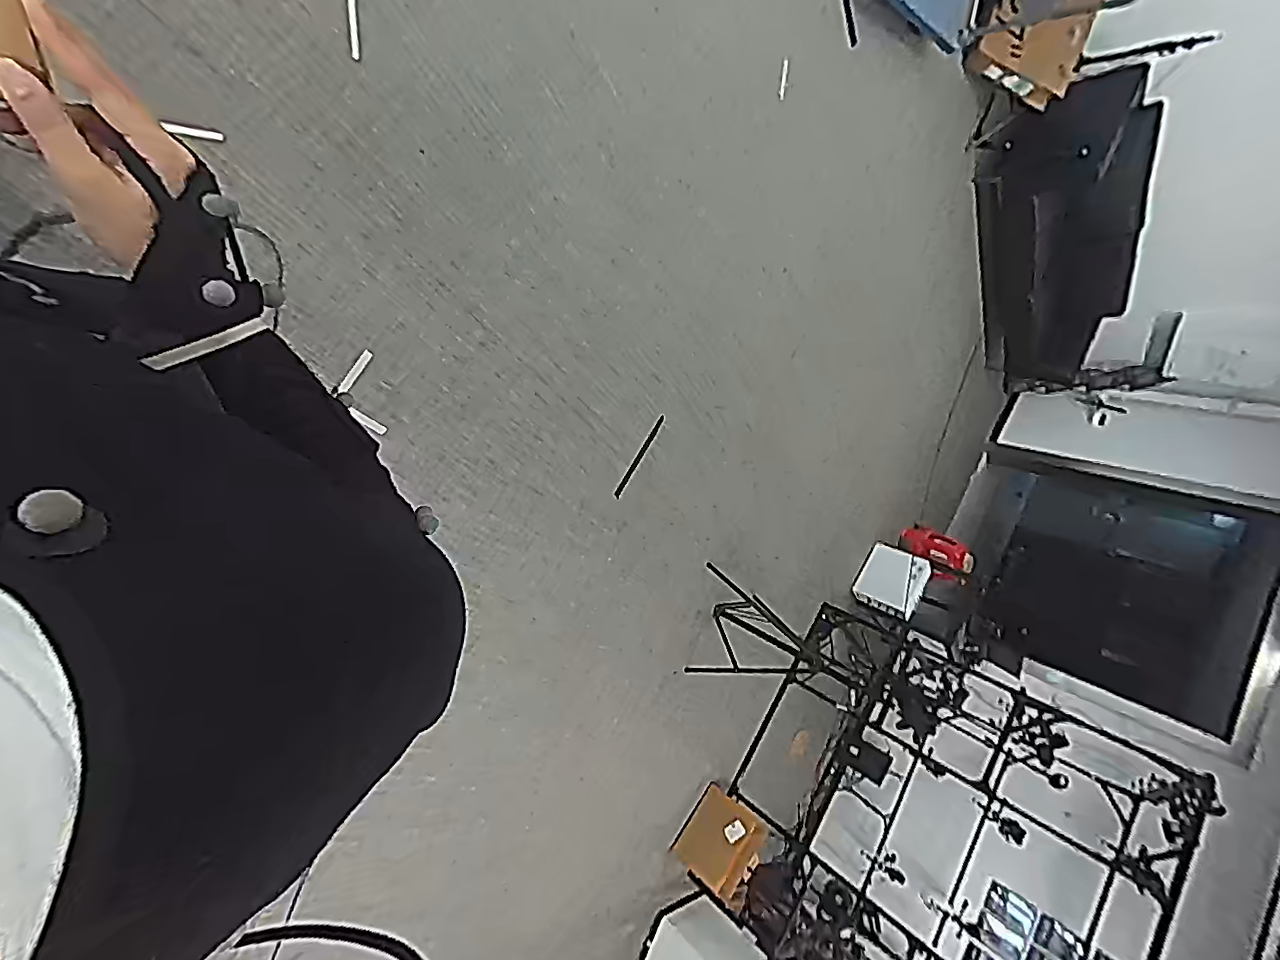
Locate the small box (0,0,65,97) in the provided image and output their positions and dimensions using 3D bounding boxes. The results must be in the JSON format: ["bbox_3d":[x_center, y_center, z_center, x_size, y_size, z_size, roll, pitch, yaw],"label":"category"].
[{"bbox_3d":[-0.398,-0.284,0.232,0.179,0.176,0.168,-16,126,-39],"label":"small box"}]
